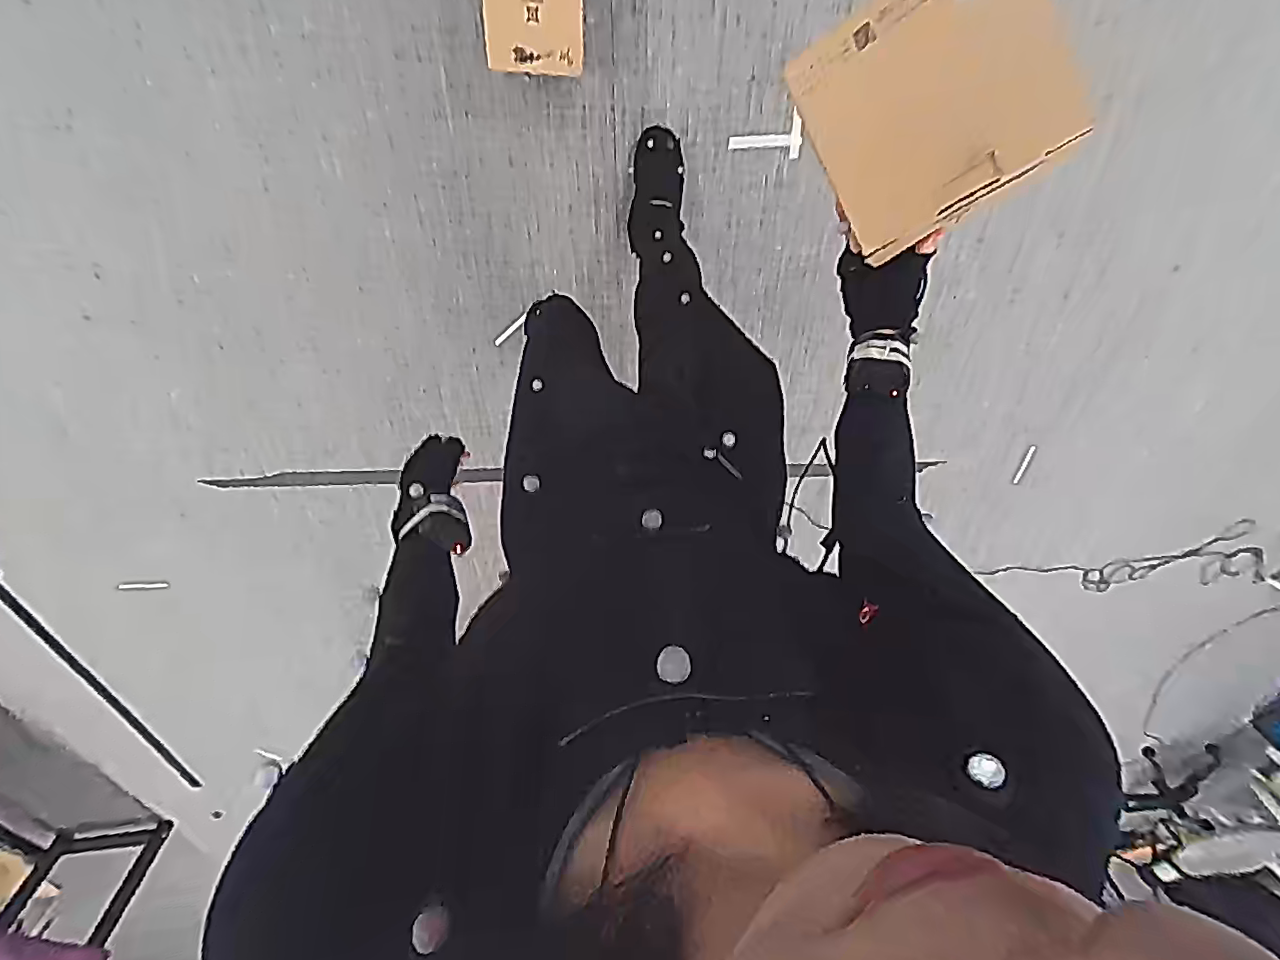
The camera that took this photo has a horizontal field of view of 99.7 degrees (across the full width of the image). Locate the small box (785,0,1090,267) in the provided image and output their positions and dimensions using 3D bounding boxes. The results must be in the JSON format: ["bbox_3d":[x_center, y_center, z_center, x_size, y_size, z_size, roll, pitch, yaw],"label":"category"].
[{"bbox_3d":[0.247,-0.317,0.481,0.168,0.179,0.176,-25,94,30],"label":"small box"}]

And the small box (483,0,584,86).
[{"bbox_3d":[-0.185,-0.820,0.963,0.168,0.176,0.179,1,125,-6],"label":"small box"}]

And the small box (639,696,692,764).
[{"bbox_3d":[0.089,0.912,1.976,0.179,0.176,0.168,-2,126,-3],"label":"small box"}]
